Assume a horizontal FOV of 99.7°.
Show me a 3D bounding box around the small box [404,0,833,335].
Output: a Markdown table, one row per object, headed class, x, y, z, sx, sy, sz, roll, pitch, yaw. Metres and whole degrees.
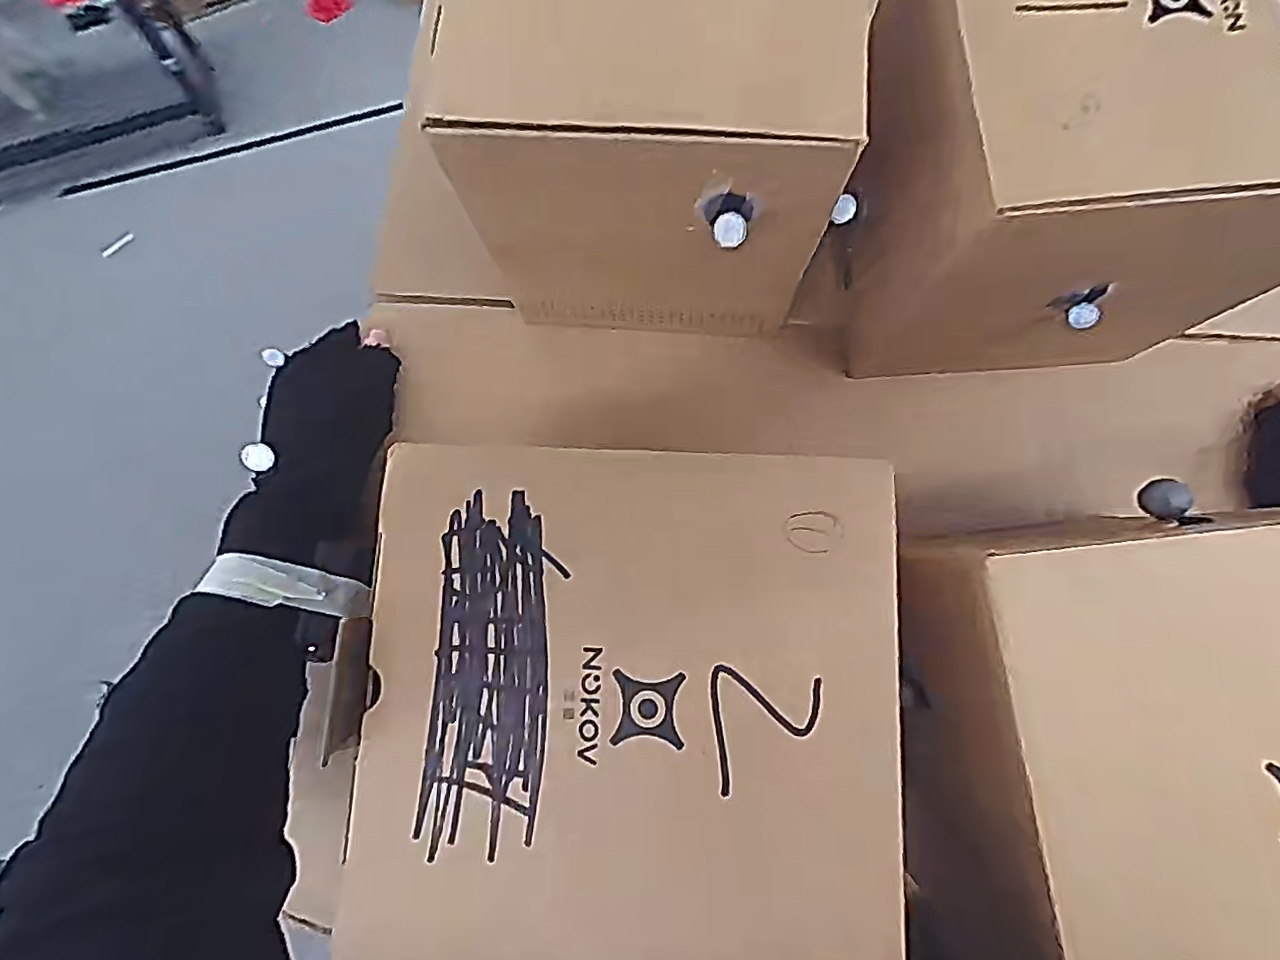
| class | x | y | z | sx | sy | sz | roll | pitch | yaw |
| --- | --- | --- | --- | --- | --- | --- | --- | --- | --- |
| small box | -0.002 | -0.196 | 0.311 | 0.179 | 0.176 | 0.168 | 4 | 79 | 4 |
